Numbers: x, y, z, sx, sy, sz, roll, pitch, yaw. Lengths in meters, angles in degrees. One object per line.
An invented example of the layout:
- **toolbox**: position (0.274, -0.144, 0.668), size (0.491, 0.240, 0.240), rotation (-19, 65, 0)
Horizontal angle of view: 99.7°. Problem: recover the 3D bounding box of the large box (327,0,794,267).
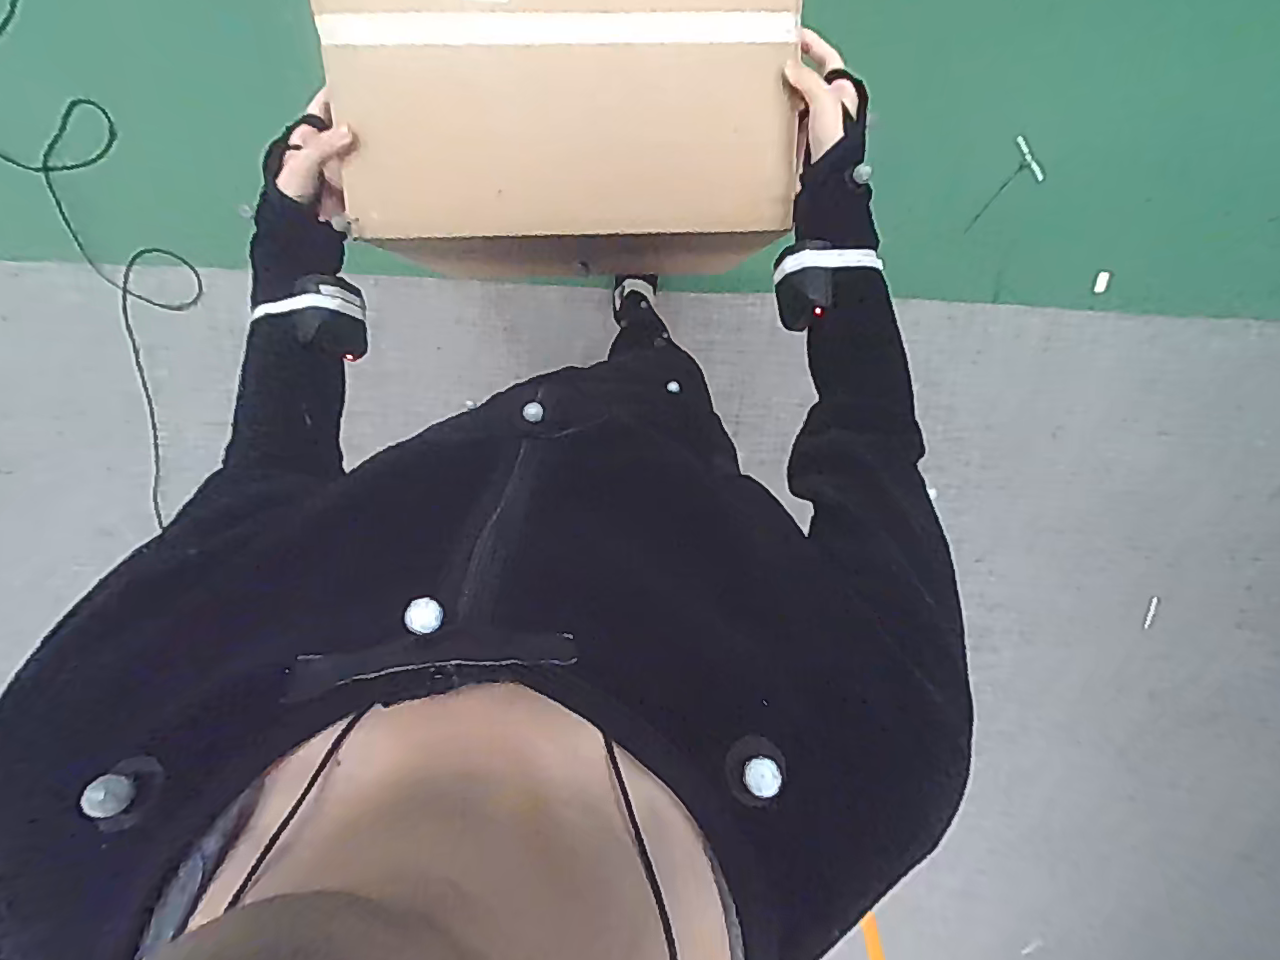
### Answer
- **large box**: position (-0.069, -0.422, 0.608), size (0.408, 0.320, 0.320), rotation (-2, 105, -2)
